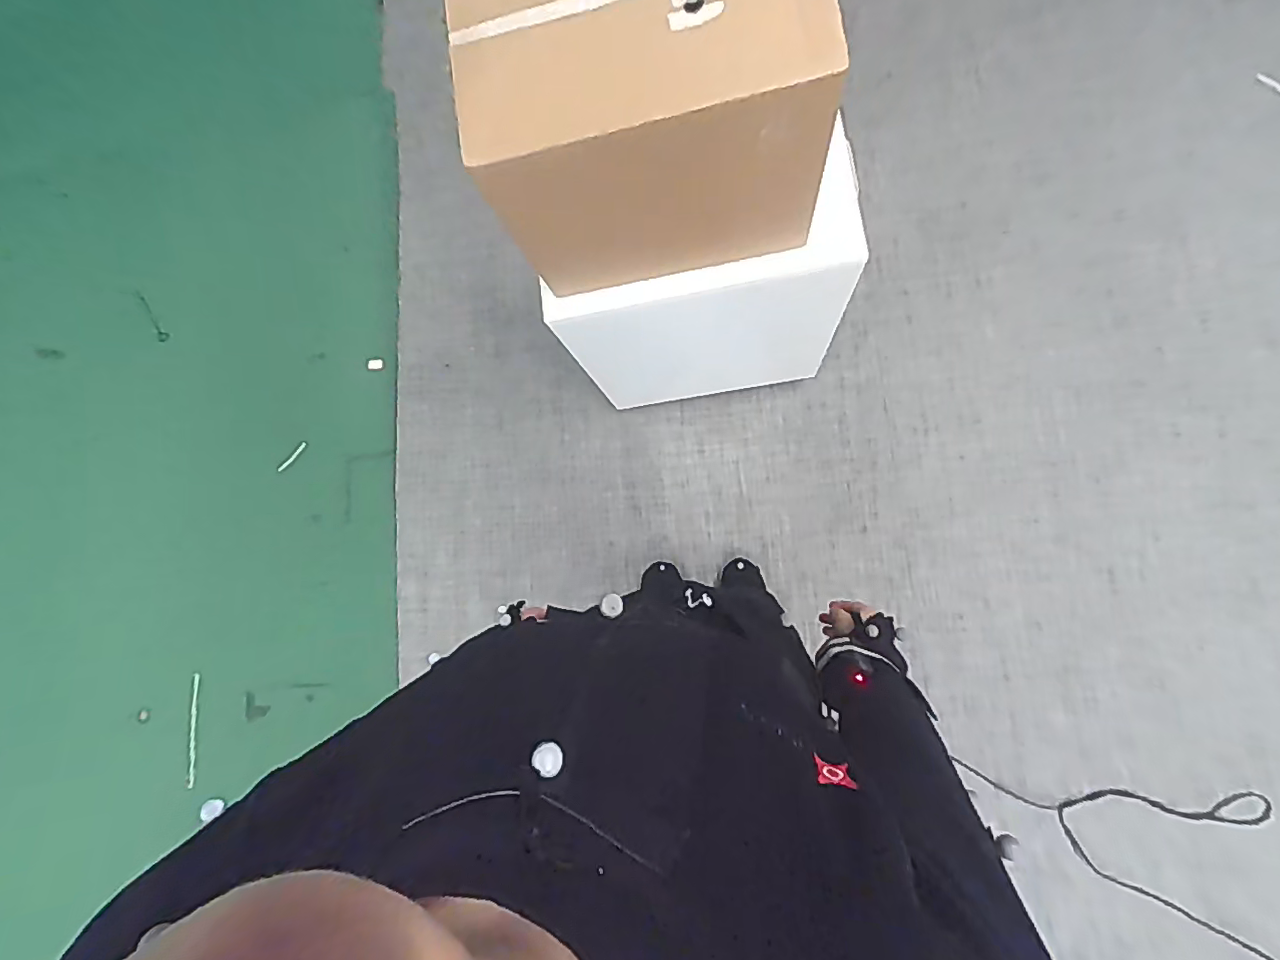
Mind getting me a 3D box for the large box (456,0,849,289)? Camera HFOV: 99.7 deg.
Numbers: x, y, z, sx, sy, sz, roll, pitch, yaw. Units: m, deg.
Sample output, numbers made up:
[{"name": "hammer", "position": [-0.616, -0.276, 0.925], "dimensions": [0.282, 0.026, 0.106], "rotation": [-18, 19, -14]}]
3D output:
[{"name": "large box", "position": [0.012, -0.503, 0.725], "dimensions": [0.408, 0.320, 0.320], "rotation": [-9, 82, 7]}]
